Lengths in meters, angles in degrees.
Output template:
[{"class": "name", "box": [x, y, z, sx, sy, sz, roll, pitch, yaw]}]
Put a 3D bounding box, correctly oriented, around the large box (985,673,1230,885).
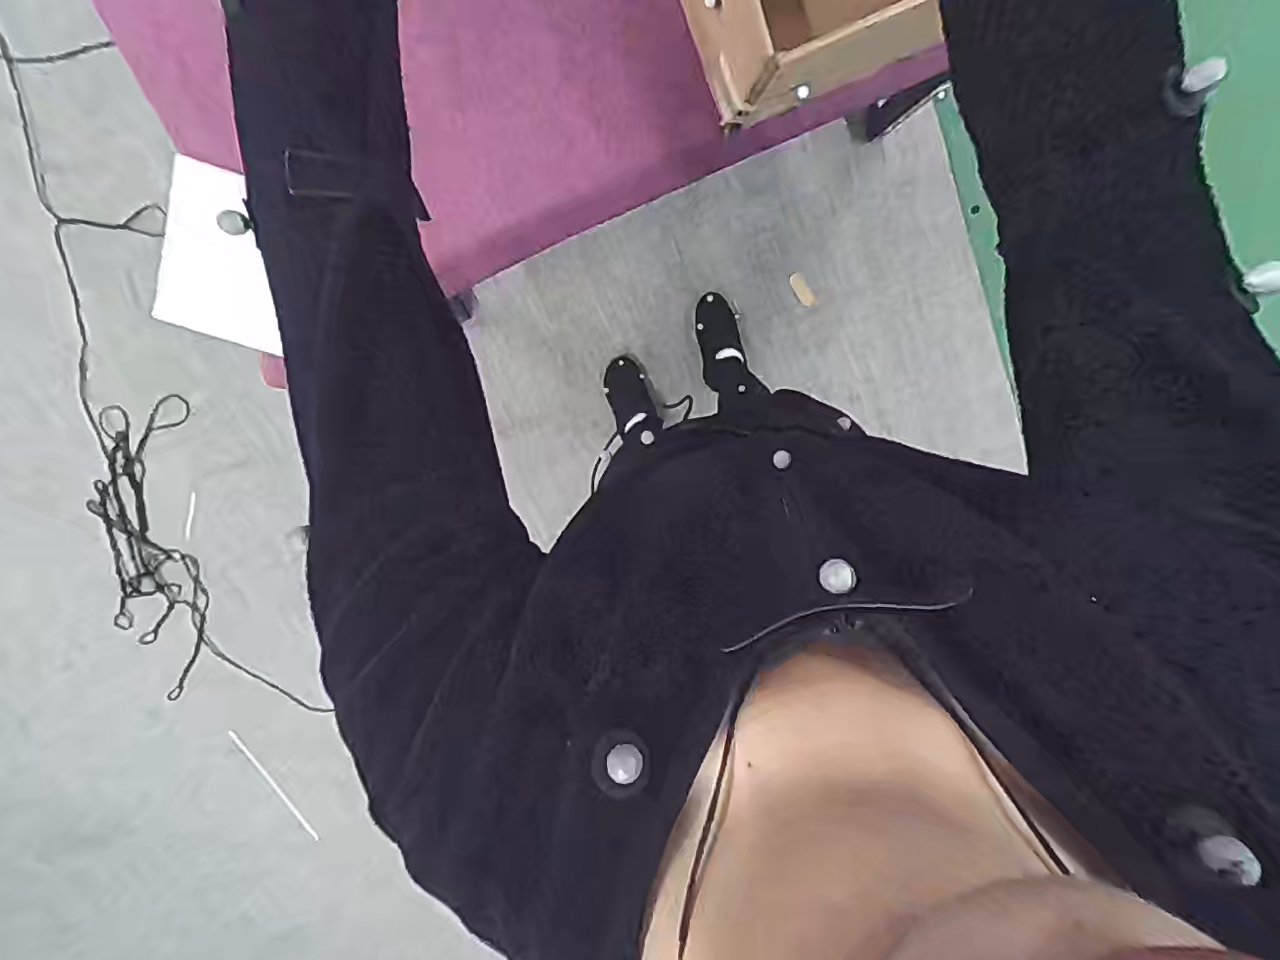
[{"class": "large box", "box": [1.364, 0.873, 1.615, 0.408, 0.320, 0.320, -38, 102, 6]}]
